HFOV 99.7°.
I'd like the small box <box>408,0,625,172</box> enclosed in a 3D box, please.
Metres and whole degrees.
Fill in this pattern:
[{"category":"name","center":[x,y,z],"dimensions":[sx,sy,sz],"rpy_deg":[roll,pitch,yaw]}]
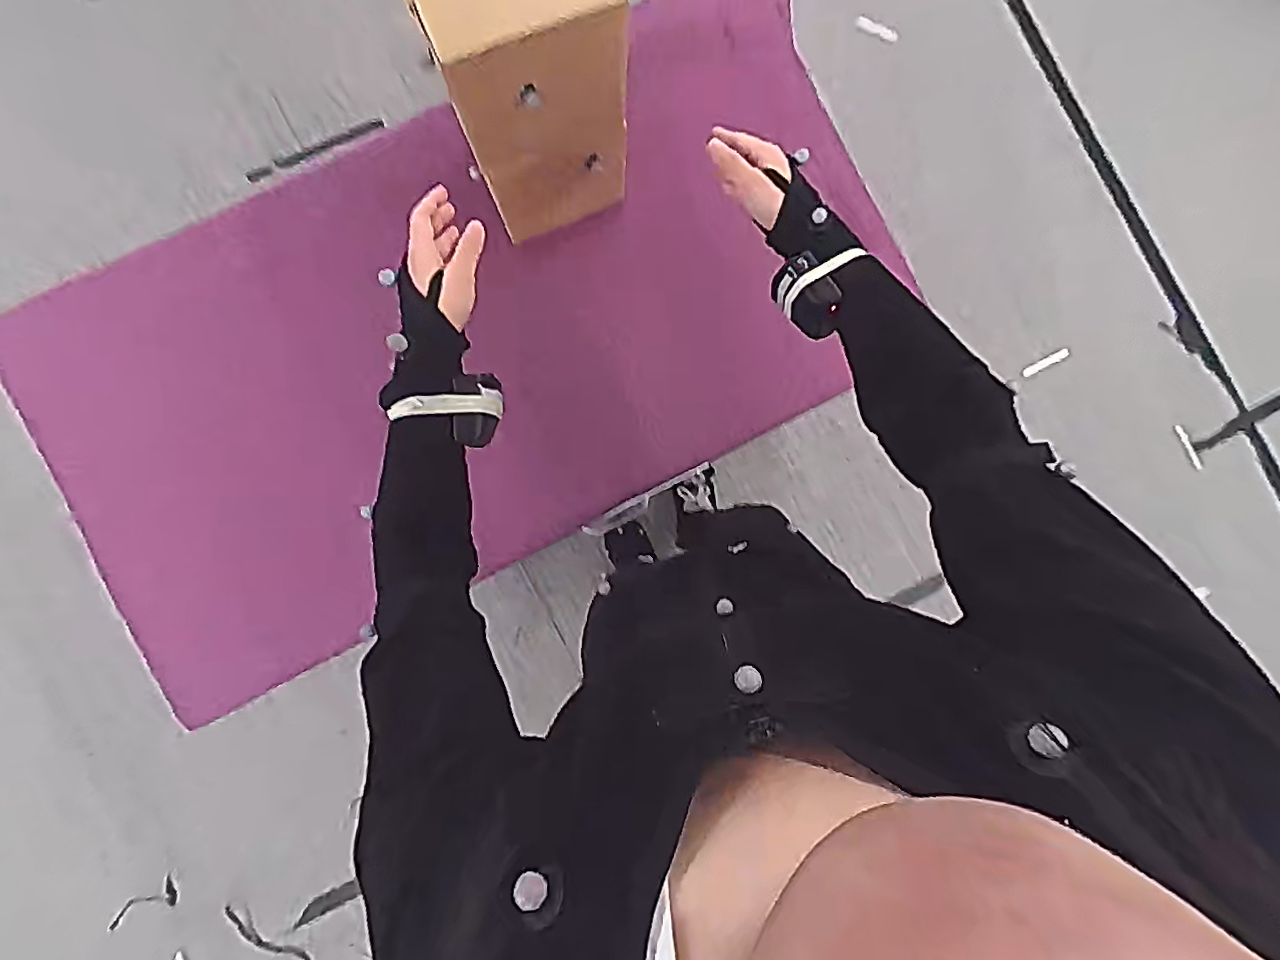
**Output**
[{"category":"small box","center":[-0.121,-0.448,0.537],"dimensions":[0.179,0.176,0.168],"rpy_deg":[-22,90,-2]}]

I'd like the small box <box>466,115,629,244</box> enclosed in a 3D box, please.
[{"category":"small box","center":[-0.127,-0.443,0.701],"dimensions":[0.179,0.176,0.168],"rpy_deg":[-24,90,-2]}]
